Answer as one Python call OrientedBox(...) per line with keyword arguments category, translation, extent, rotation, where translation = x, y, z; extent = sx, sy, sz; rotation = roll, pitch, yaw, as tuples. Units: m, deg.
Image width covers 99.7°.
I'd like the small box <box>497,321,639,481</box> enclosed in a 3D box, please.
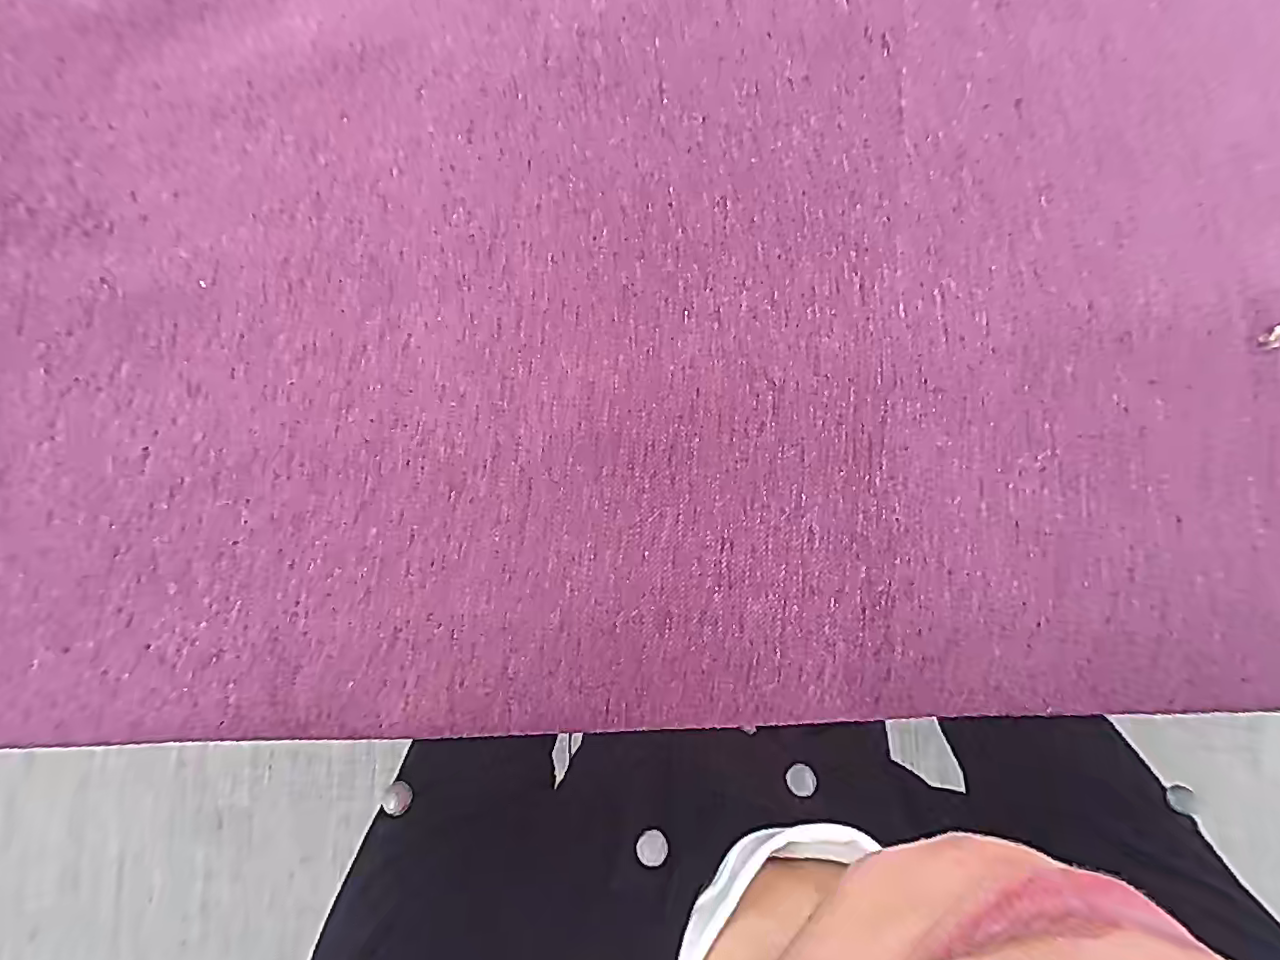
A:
OrientedBox(category="small box", translation=(-0.089, -0.097, 0.731), extent=(0.168, 0.176, 0.179), rotation=(-4, 85, 0))
